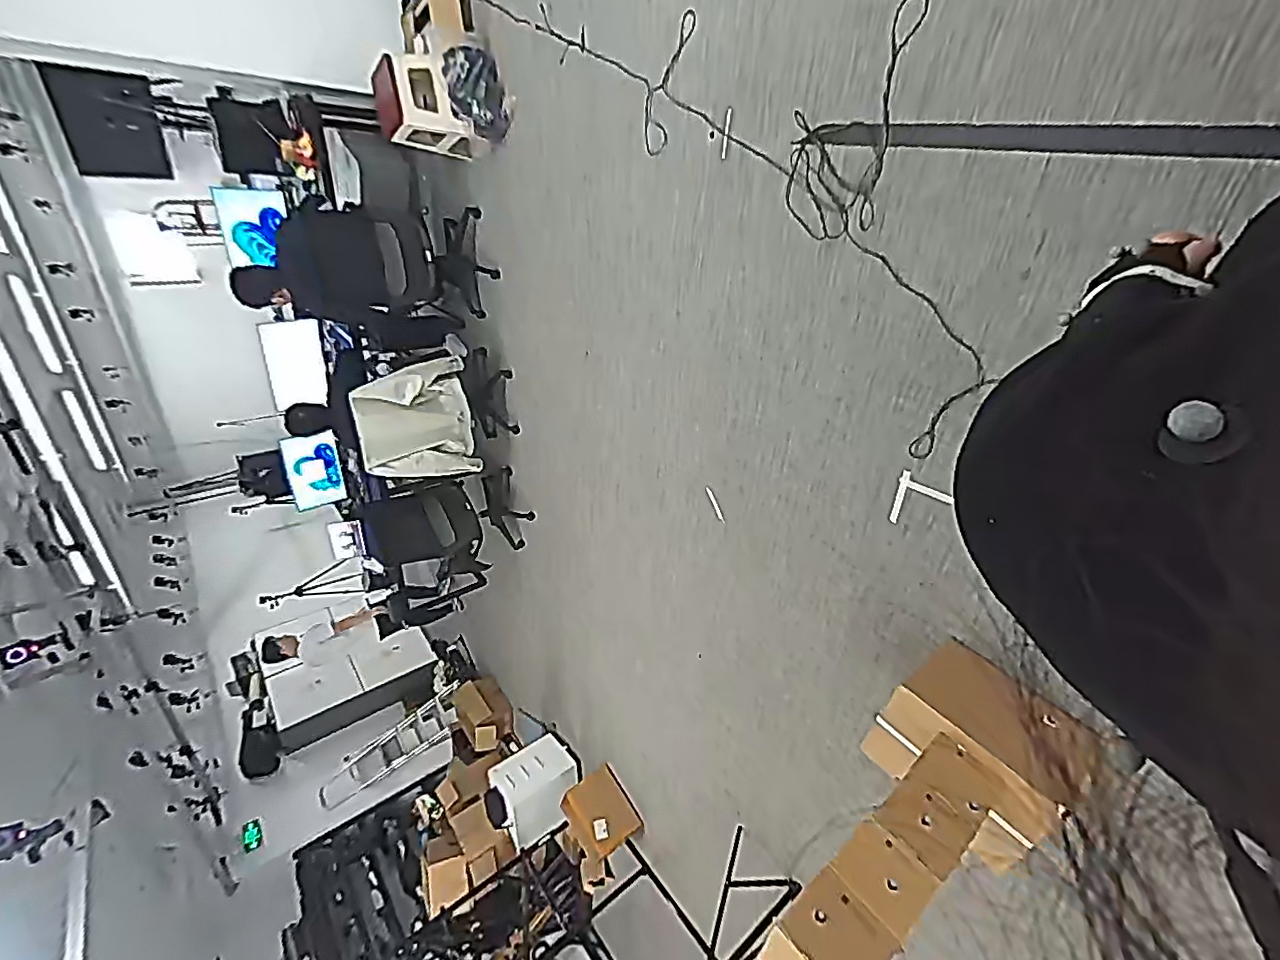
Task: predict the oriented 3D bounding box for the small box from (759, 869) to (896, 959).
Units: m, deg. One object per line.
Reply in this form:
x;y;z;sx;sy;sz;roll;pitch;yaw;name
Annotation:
0.360;0.904;1.038;0.168;0.176;0.179;36;134;40;small box

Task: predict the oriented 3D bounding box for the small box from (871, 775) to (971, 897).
0.612;0.816;1.224;0.168;0.176;0.179;39;133;38;small box

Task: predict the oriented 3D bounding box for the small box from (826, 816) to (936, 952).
0.485;0.856;1.130;0.168;0.176;0.179;36;133;39;small box
